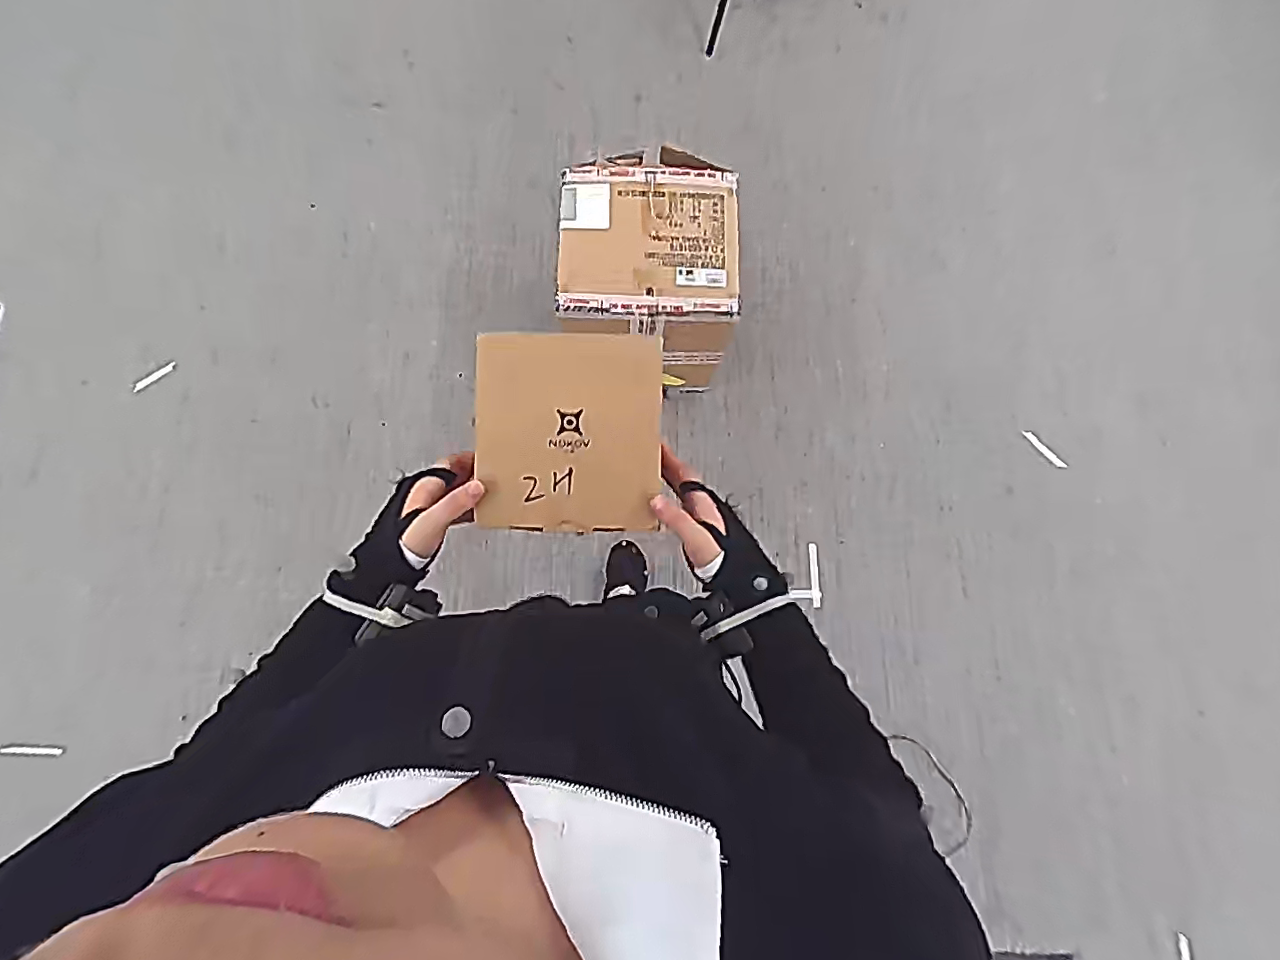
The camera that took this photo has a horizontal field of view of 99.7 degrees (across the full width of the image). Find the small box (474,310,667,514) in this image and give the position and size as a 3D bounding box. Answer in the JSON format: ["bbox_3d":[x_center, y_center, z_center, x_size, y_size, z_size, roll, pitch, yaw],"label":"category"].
[{"bbox_3d":[-0.062,-0.060,0.551,0.168,0.176,0.179,1,91,-1],"label":"small box"}]
